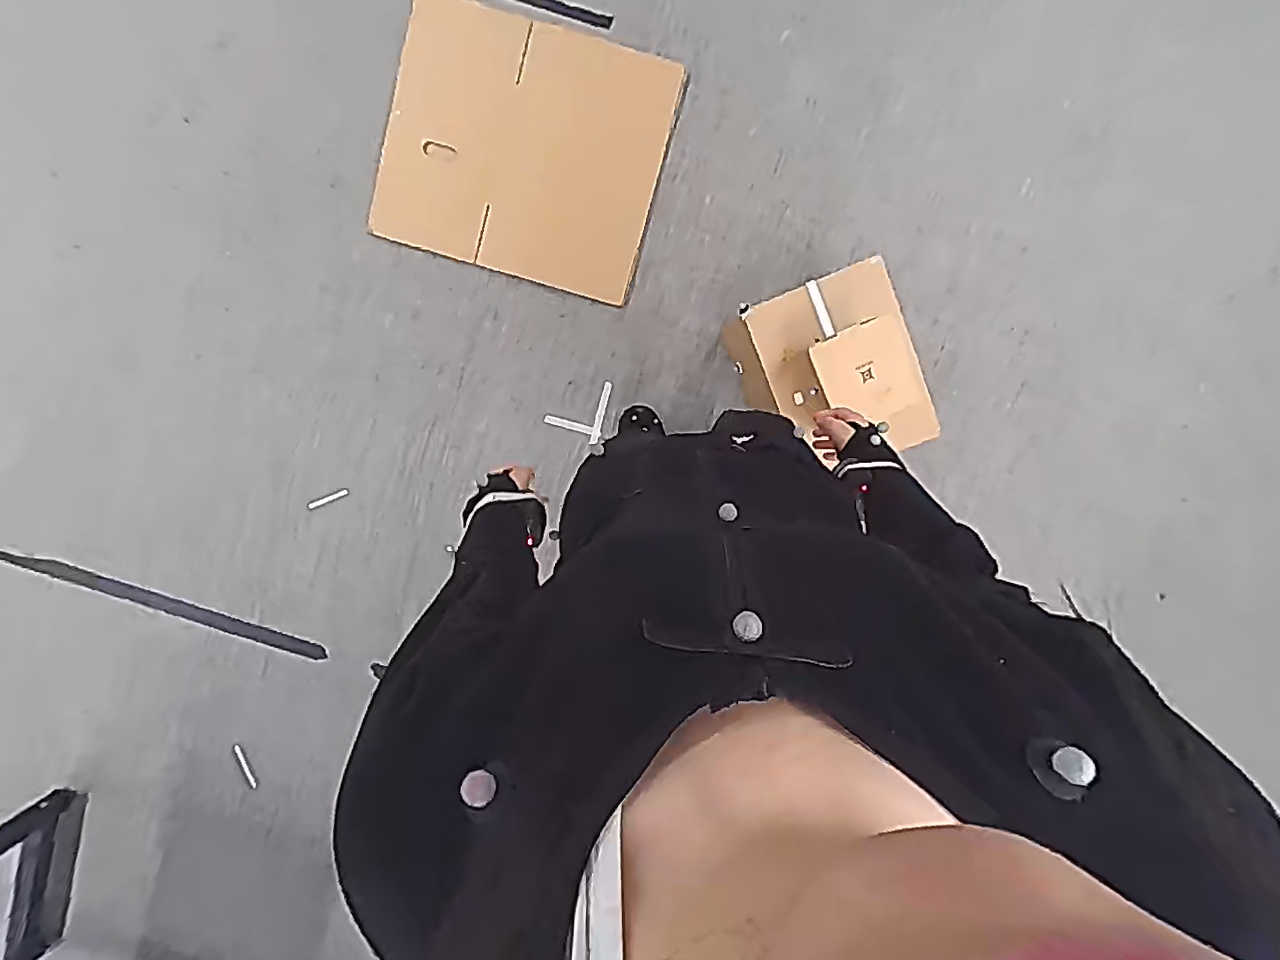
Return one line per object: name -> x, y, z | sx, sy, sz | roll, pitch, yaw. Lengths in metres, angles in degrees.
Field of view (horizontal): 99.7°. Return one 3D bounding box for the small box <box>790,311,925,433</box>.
small box -> 0.417, -0.206, 1.066 | 0.168, 0.176, 0.179 | -24, 97, 5
